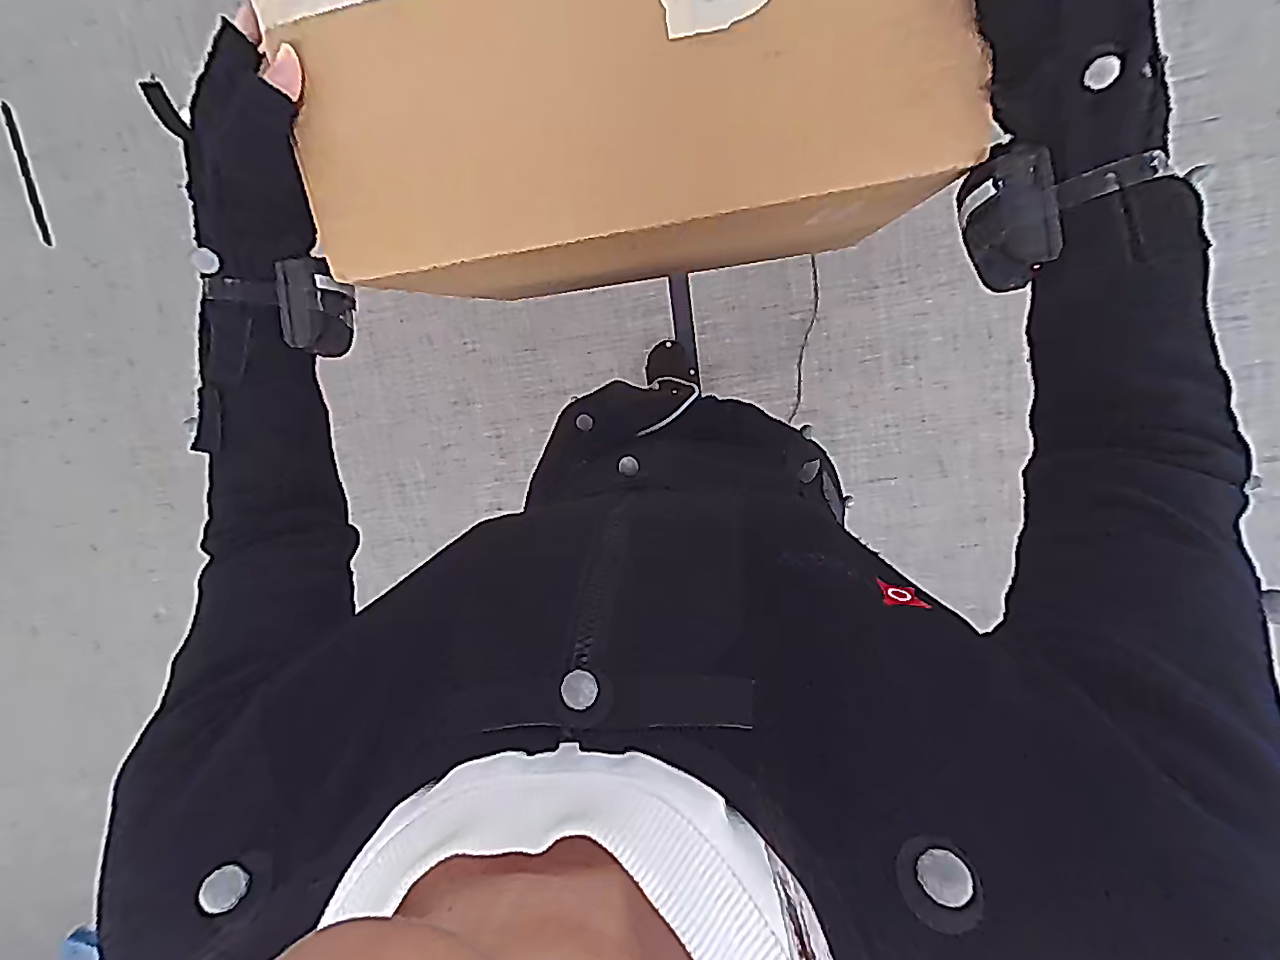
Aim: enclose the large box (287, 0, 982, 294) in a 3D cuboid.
[{"bbox_3d":[-0.006,-0.354,0.443,0.408,0.320,0.320,-6,106,10],"label":"large box"}]
